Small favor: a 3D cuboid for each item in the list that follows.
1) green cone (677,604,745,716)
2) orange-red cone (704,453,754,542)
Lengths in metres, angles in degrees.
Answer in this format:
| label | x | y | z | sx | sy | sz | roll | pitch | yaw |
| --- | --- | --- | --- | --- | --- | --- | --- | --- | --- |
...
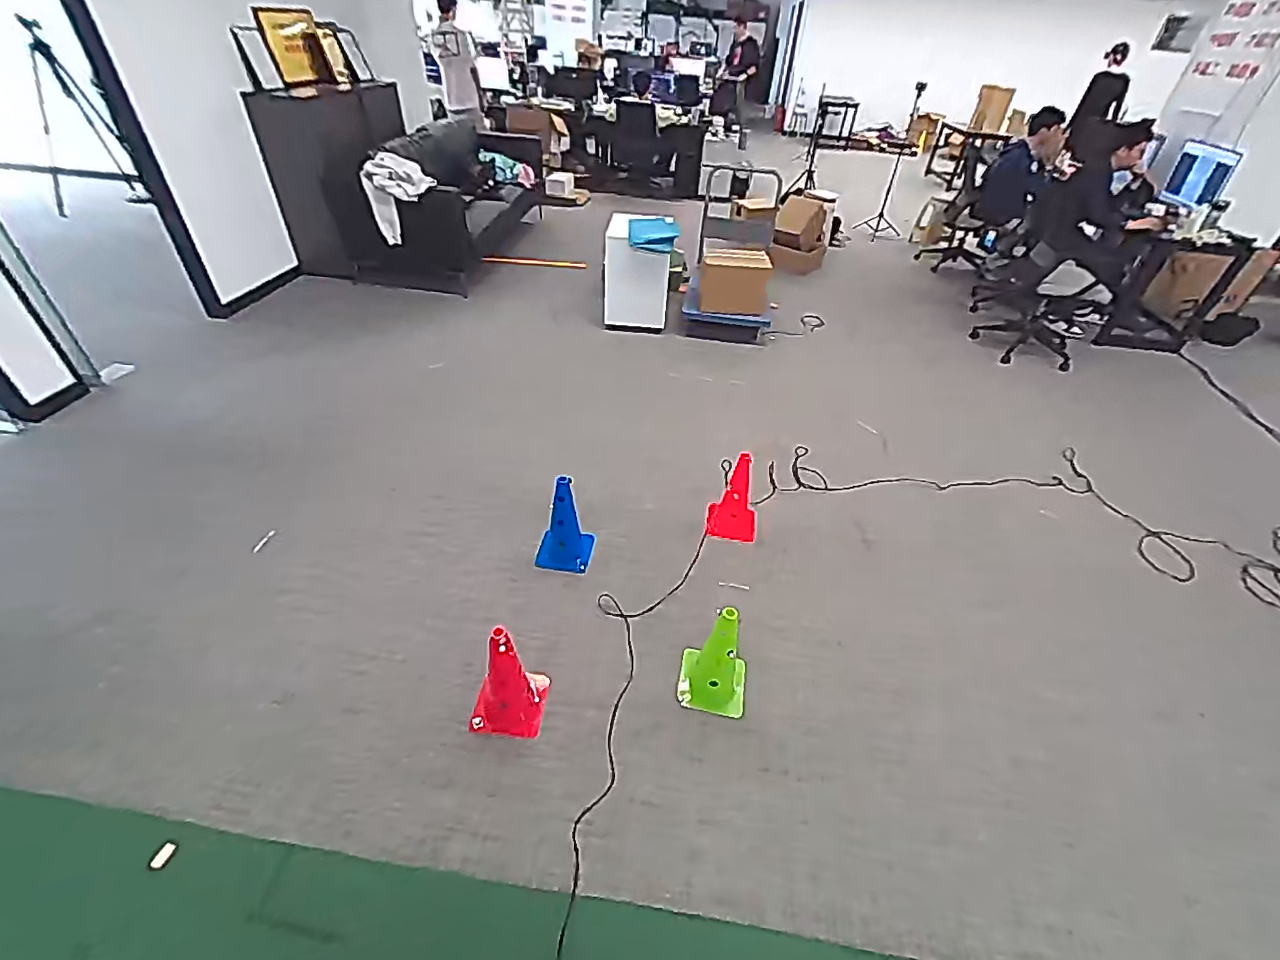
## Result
| label | x | y | z | sx | sy | sz | roll | pitch | yaw |
| --- | --- | --- | --- | --- | --- | --- | --- | --- | --- |
| green cone | 0.235 | 0.493 | 1.571 | 0.200 | 0.368 | 0.202 | 9 | 39 | 6 |
| orange-red cone | 0.378 | 0.046 | 2.131 | 0.198 | 0.360 | 0.199 | 10 | 41 | 8 |
